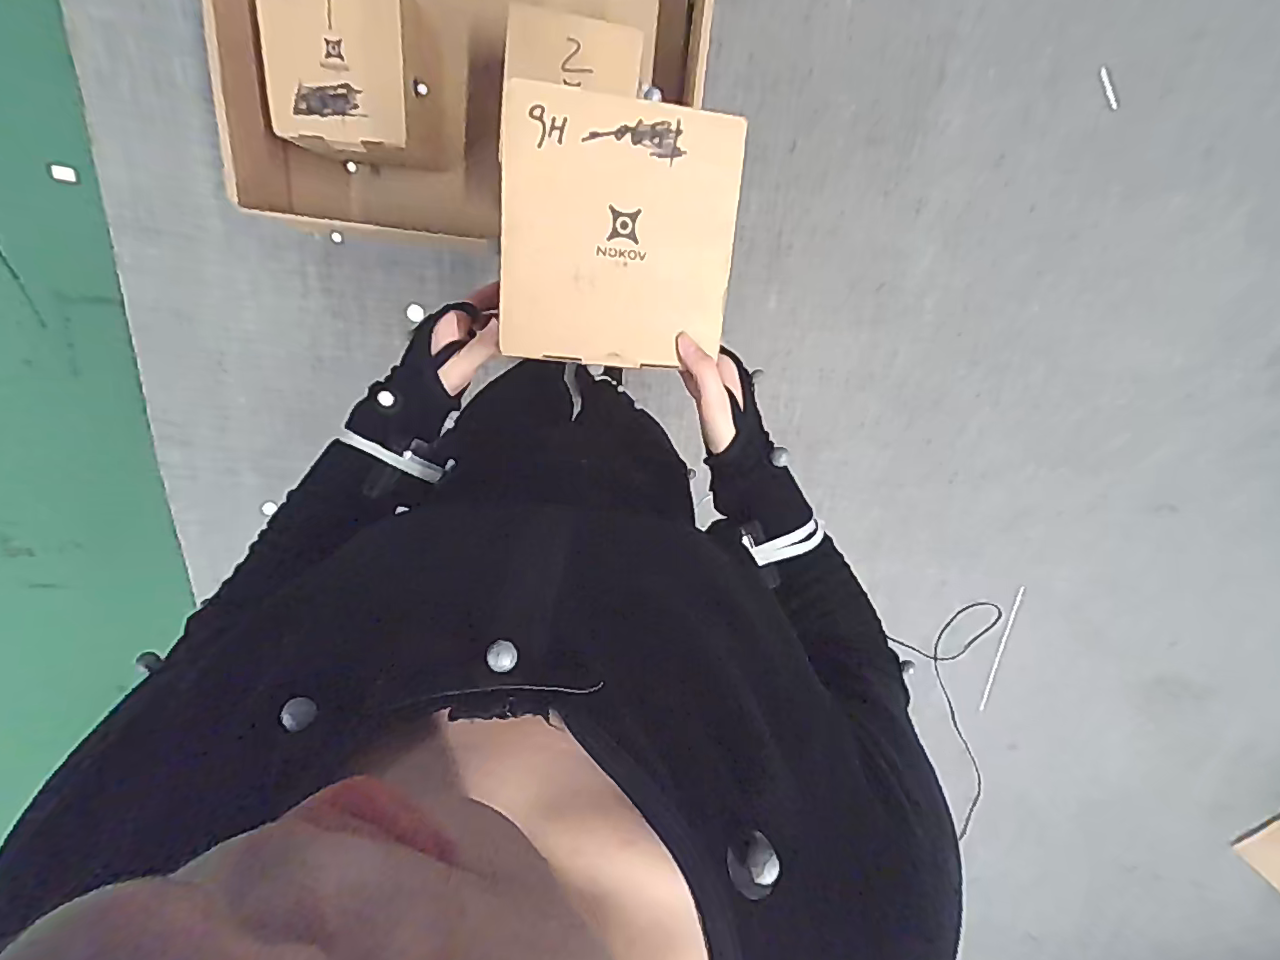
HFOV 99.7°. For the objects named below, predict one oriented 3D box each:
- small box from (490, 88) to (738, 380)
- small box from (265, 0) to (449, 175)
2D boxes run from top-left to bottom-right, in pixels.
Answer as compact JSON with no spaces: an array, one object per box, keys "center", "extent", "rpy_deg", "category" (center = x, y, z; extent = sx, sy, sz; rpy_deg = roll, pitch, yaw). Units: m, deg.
[{"center":[-0.033,-0.189,0.461],"extent":[0.168,0.176,0.179],"rpy_deg":[3,106,-12],"category":"small box"},{"center":[-0.367,-0.531,0.735],"extent":[0.168,0.176,0.179],"rpy_deg":[4,108,-3],"category":"small box"}]
